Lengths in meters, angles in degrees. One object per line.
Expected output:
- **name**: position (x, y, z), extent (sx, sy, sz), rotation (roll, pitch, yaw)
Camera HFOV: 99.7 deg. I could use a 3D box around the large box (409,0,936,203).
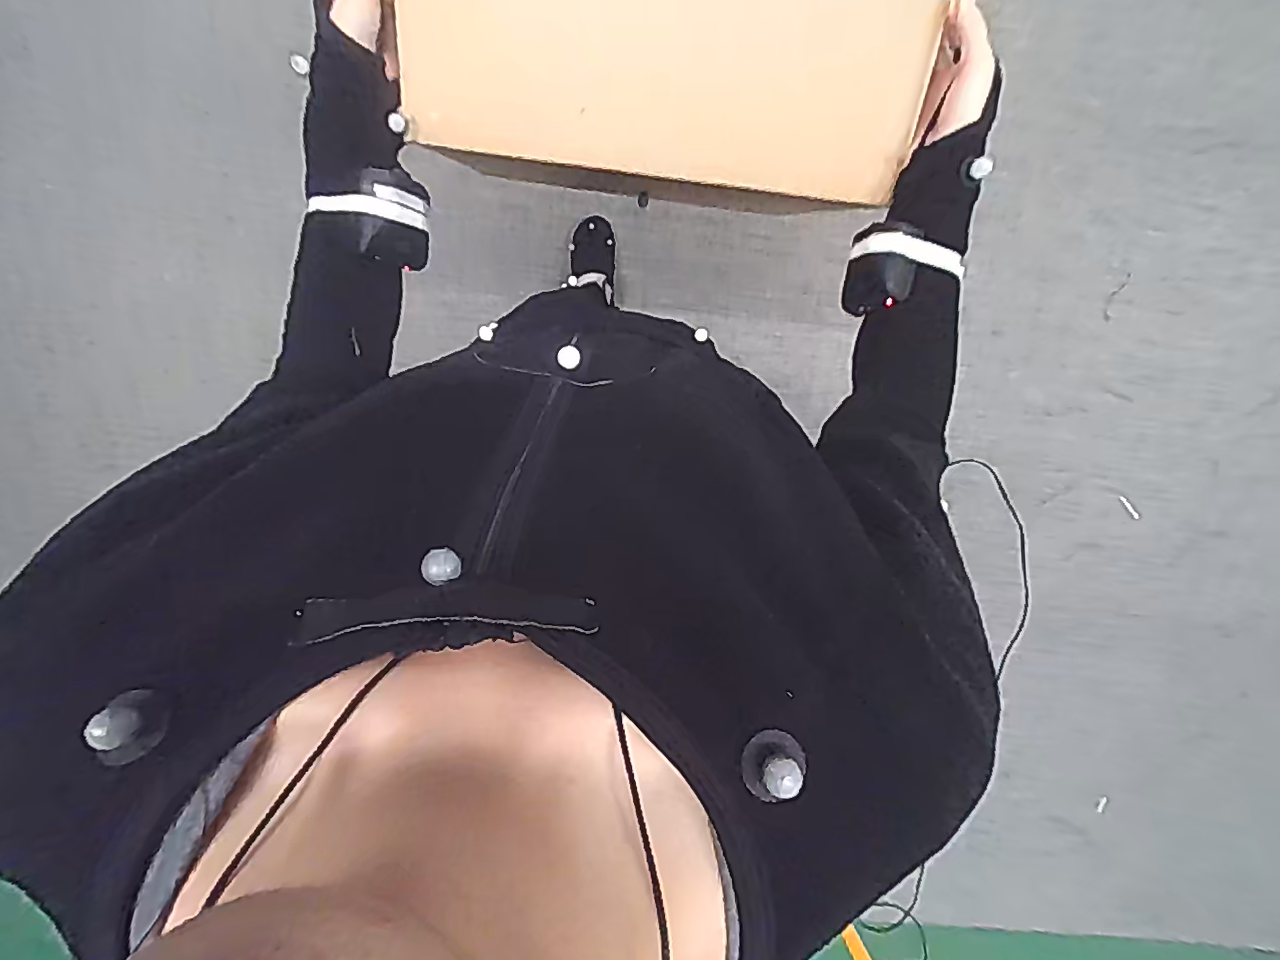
- **large box**: position (0.026, -0.459, 0.522), extent (0.408, 0.320, 0.320), rotation (4, 114, -6)
